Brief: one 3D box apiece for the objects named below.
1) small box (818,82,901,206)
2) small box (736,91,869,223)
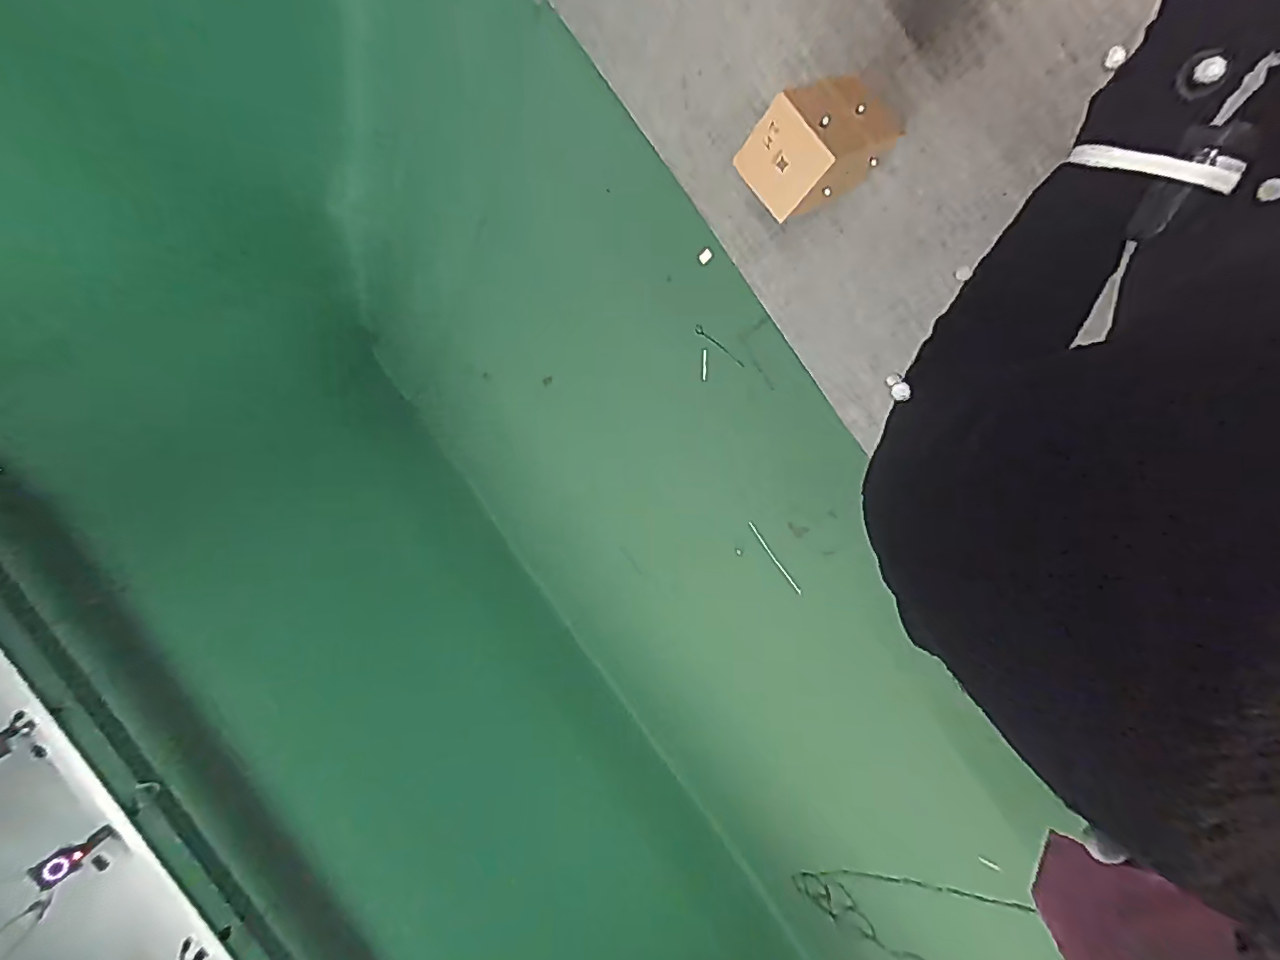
[{"bbox_3d":[0.458,-0.774,1.238,0.179,0.176,0.168,54,146,0],"label":"small box"},{"bbox_3d":[0.348,-0.689,1.149,0.179,0.176,0.168,53,145,1],"label":"small box"}]
